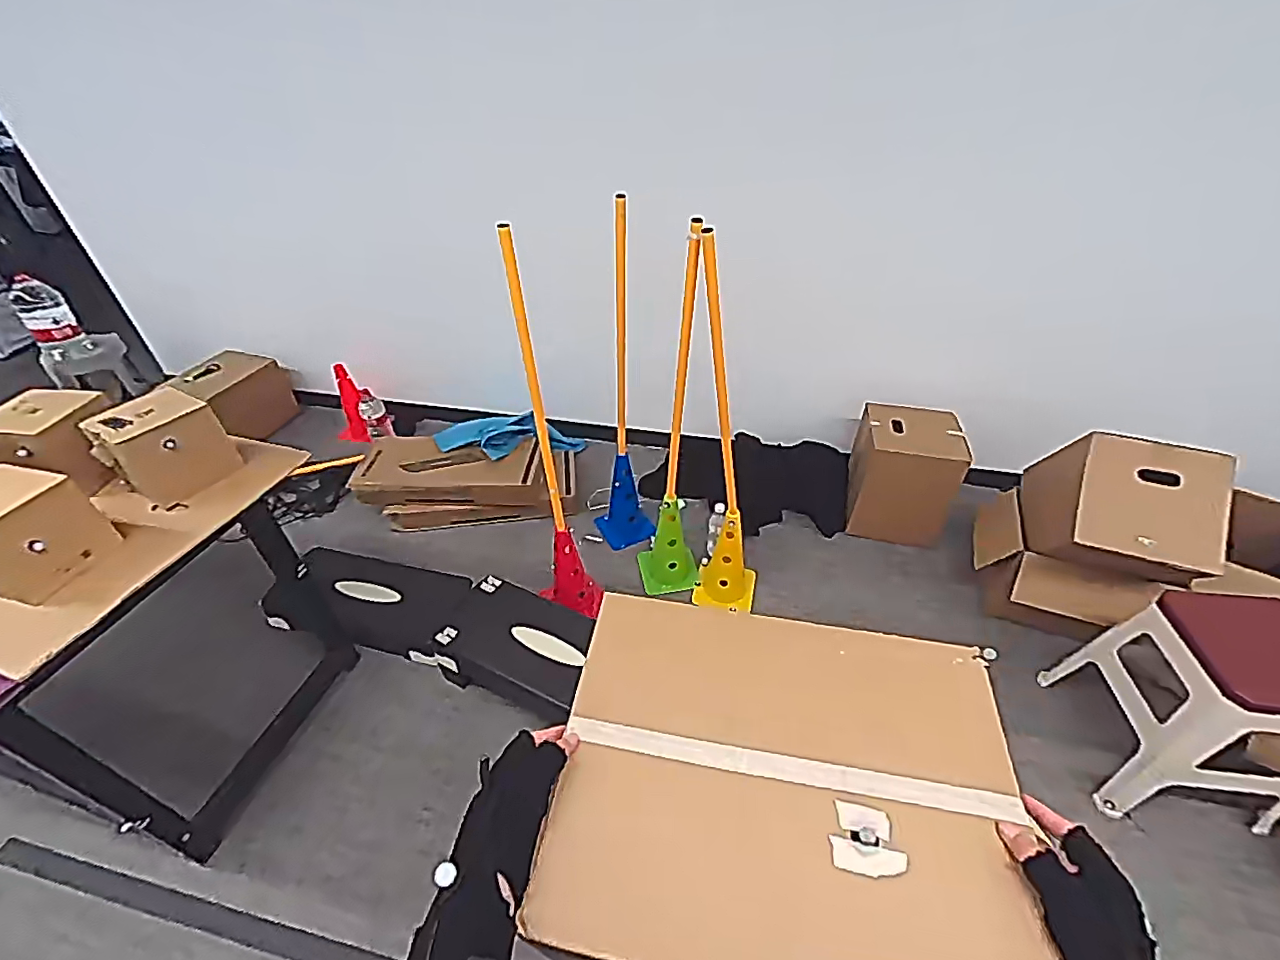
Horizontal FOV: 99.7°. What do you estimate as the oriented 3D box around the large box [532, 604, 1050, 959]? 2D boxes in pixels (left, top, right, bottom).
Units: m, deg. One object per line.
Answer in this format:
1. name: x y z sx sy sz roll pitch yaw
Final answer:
1. large box: 0.134 0.378 0.607 0.408 0.320 0.320 7 46 9
